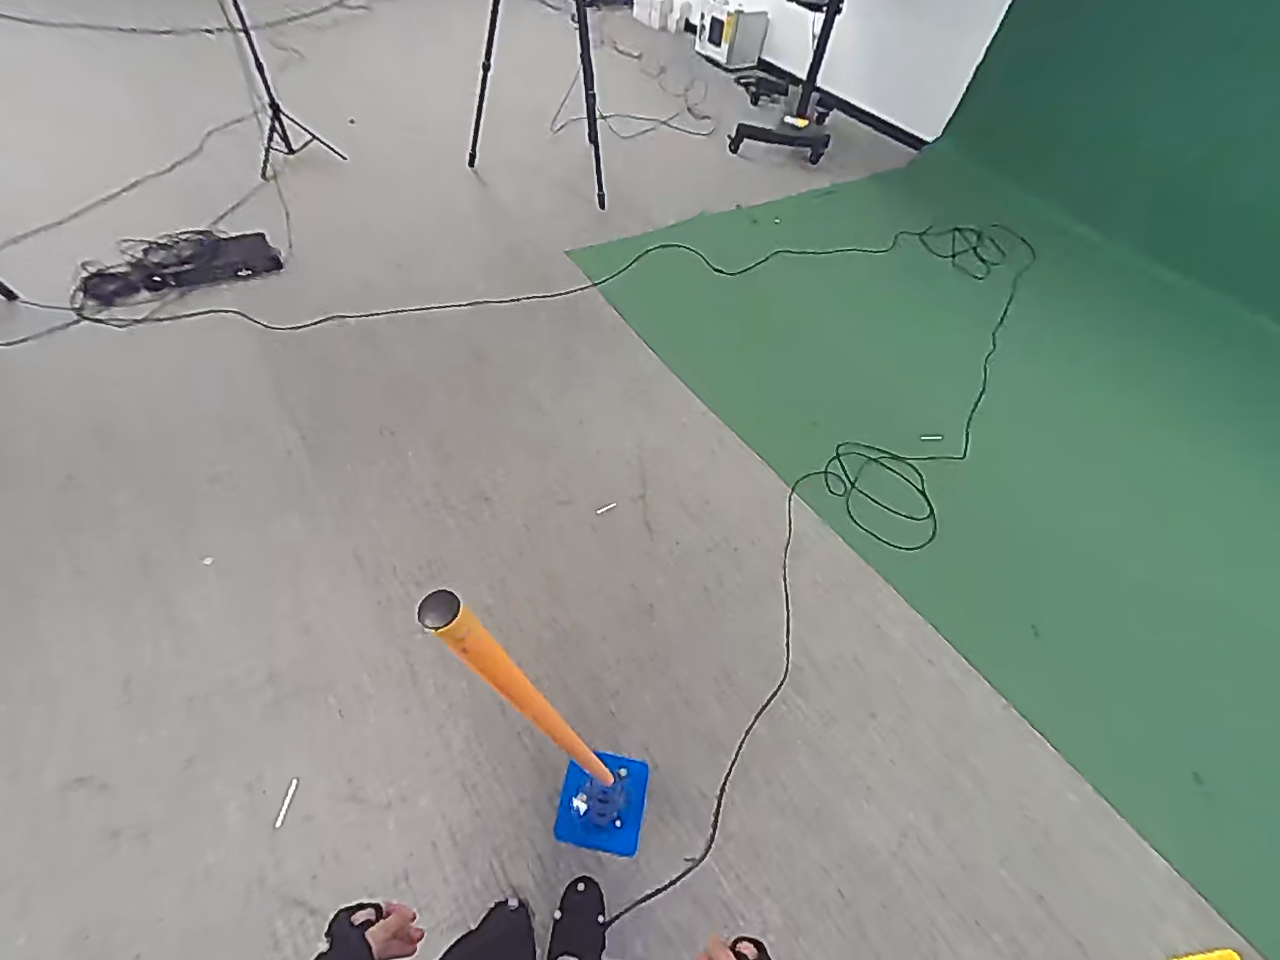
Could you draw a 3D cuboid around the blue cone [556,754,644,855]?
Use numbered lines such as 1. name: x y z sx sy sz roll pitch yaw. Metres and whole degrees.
1. blue cone: -0.080 0.658 1.131 0.193 0.380 0.192 10 53 2
